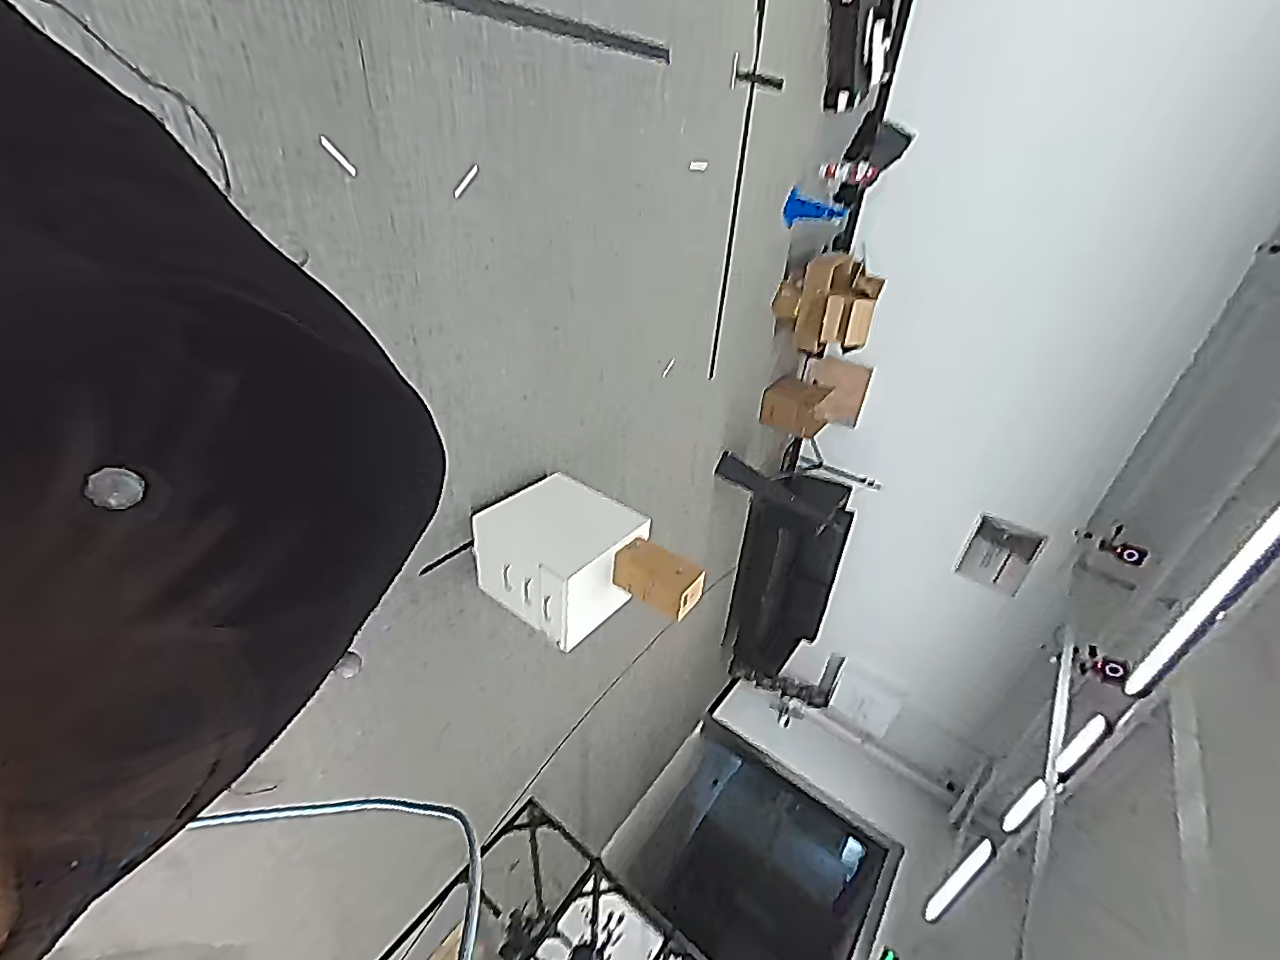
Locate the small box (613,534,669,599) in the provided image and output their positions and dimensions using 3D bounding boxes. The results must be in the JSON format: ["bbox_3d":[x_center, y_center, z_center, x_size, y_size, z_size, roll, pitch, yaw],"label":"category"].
[{"bbox_3d":[0.003,0.354,2.245,0.168,0.176,0.179,-32,138,-45],"label":"small box"}]

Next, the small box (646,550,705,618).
[{"bbox_3d":[0.137,0.413,2.171,0.179,0.176,0.168,-37,142,-43],"label":"small box"}]
